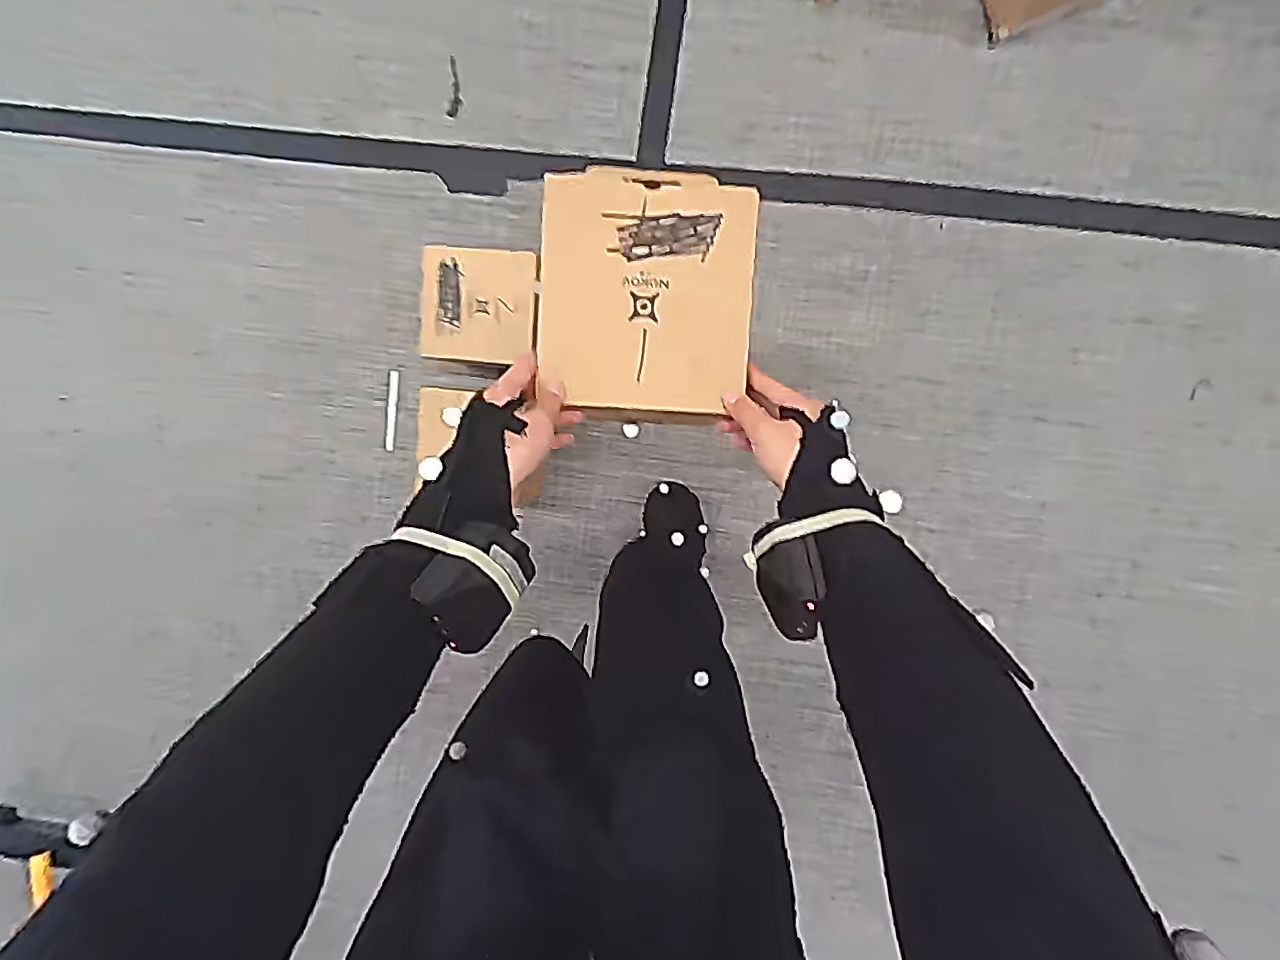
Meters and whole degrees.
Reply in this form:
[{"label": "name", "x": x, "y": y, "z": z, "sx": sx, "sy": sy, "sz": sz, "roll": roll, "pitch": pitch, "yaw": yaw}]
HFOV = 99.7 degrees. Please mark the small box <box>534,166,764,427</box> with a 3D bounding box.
[{"label": "small box", "x": 0.005, "y": -0.145, "z": 0.487, "sx": 0.168, "sy": 0.176, "sz": 0.179, "roll": 4, "pitch": 93, "yaw": -1}]
